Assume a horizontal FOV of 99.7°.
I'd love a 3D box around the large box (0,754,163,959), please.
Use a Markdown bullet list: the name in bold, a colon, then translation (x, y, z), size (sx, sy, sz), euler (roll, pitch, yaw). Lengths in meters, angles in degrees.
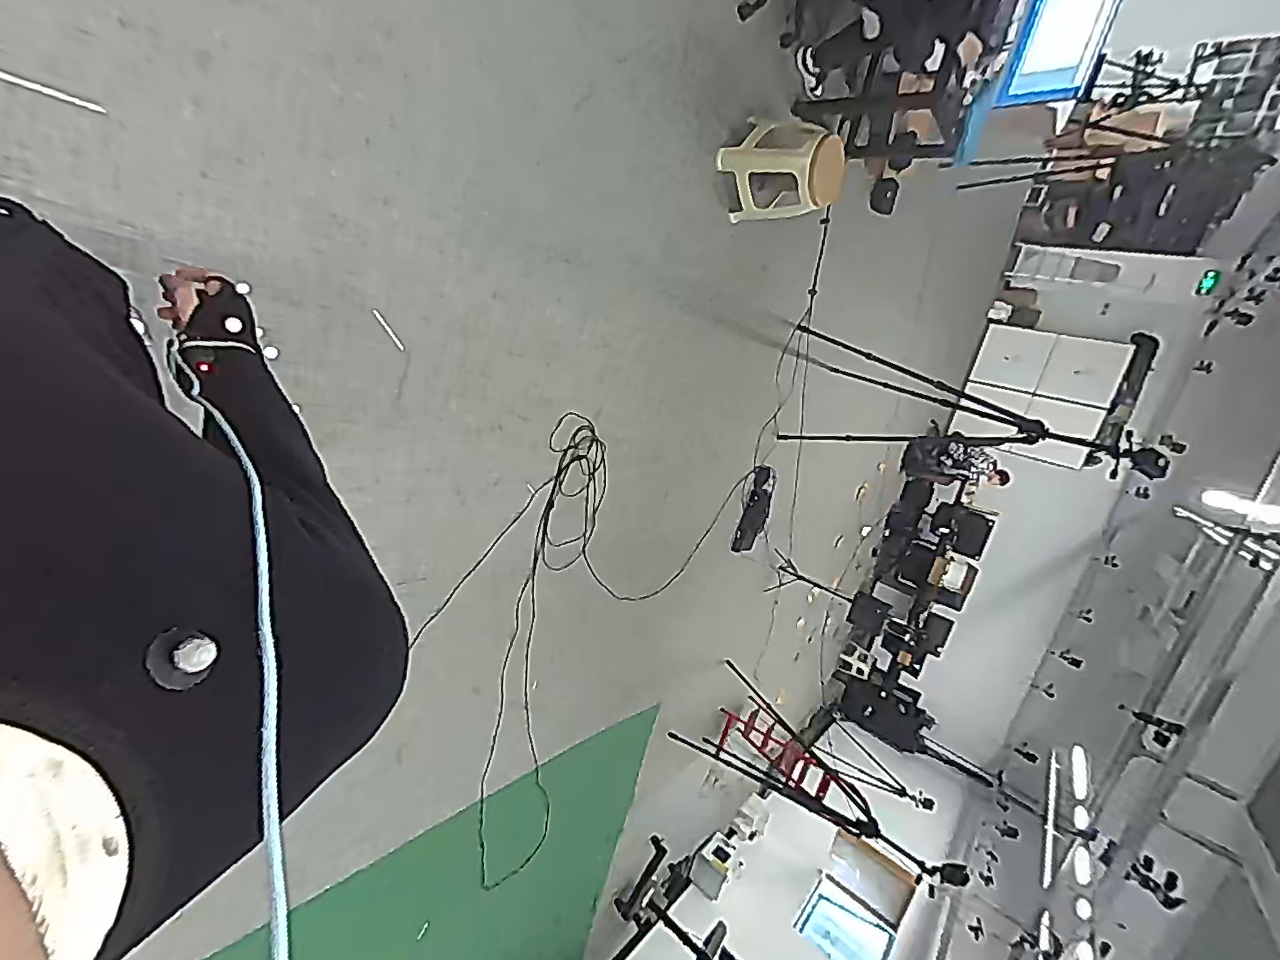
- **large box**: translation (-1.423, 0.945, 1.280), size (0.408, 0.320, 0.320), euler (-4, 111, -50)
